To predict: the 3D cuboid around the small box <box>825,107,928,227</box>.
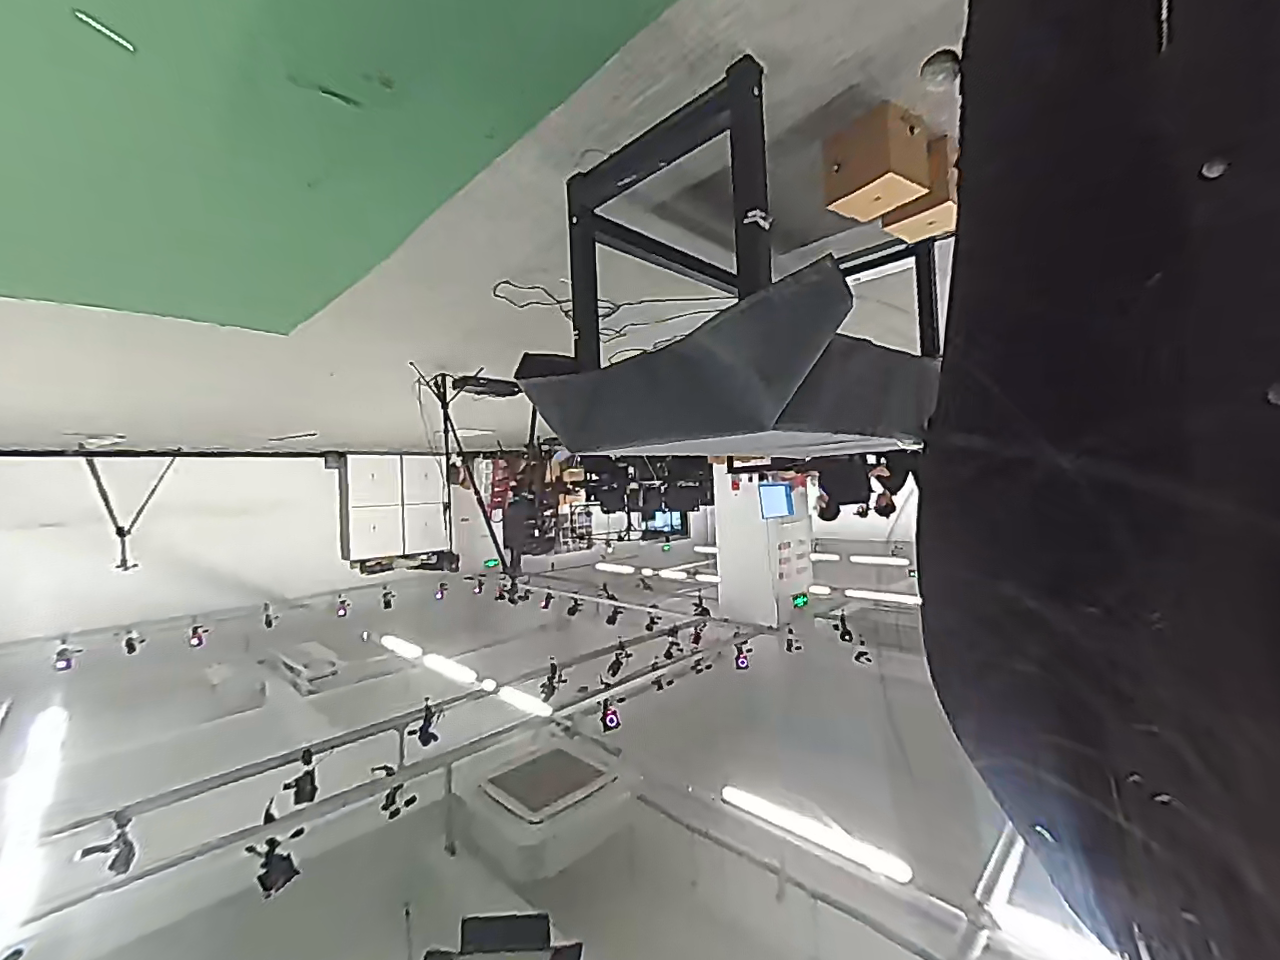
[{"bbox_3d":[0.567,-0.745,1.303,0.168,0.176,0.179,-4,180,-34],"label":"small box"}]
